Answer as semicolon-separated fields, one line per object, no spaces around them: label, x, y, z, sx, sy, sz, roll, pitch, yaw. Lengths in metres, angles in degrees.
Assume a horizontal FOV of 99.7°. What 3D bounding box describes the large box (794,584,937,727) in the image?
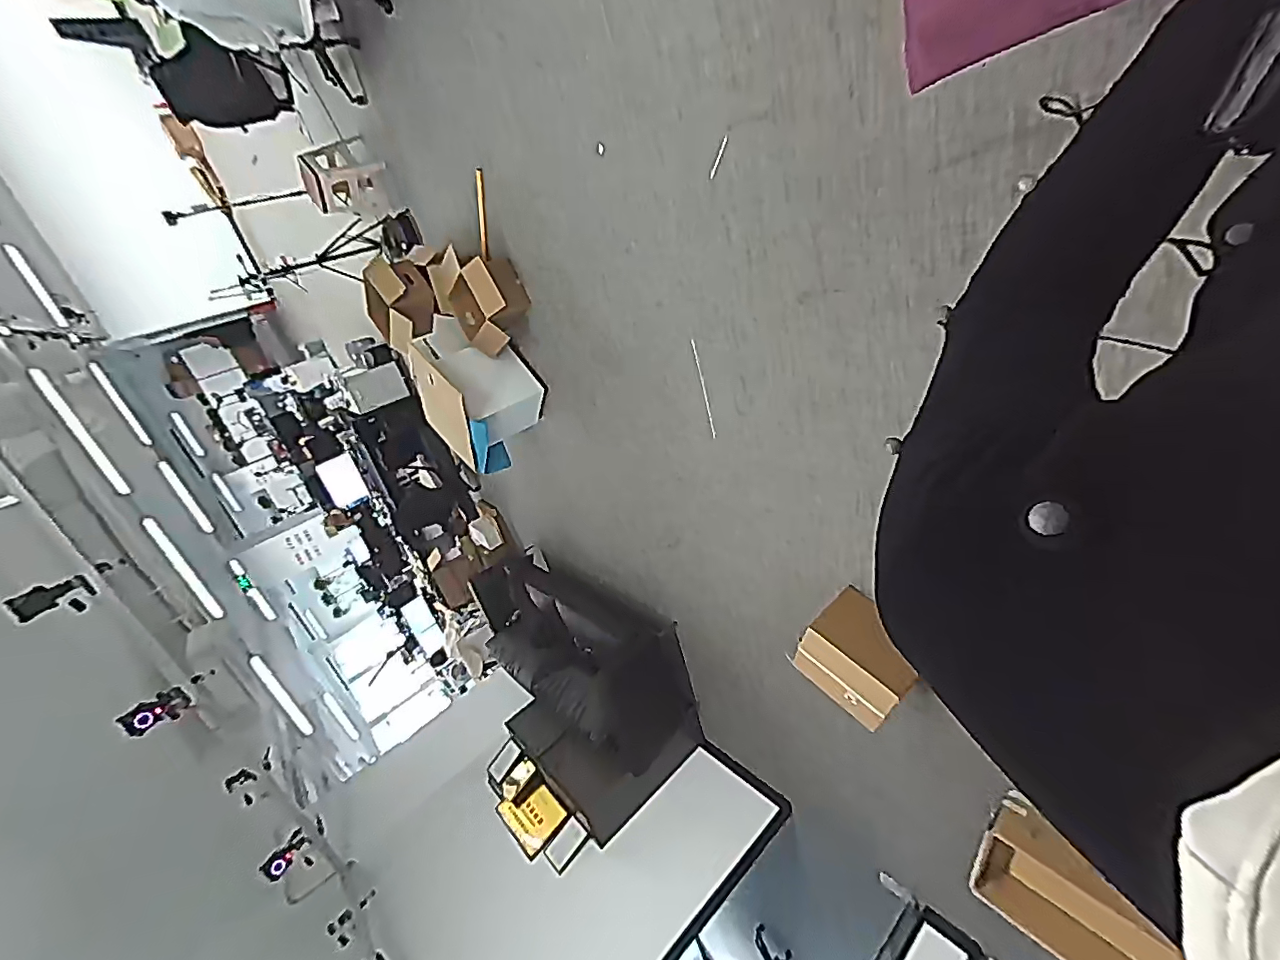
large box;0.922;0.717;2.246;0.408;0.320;0.320;36;144;31
